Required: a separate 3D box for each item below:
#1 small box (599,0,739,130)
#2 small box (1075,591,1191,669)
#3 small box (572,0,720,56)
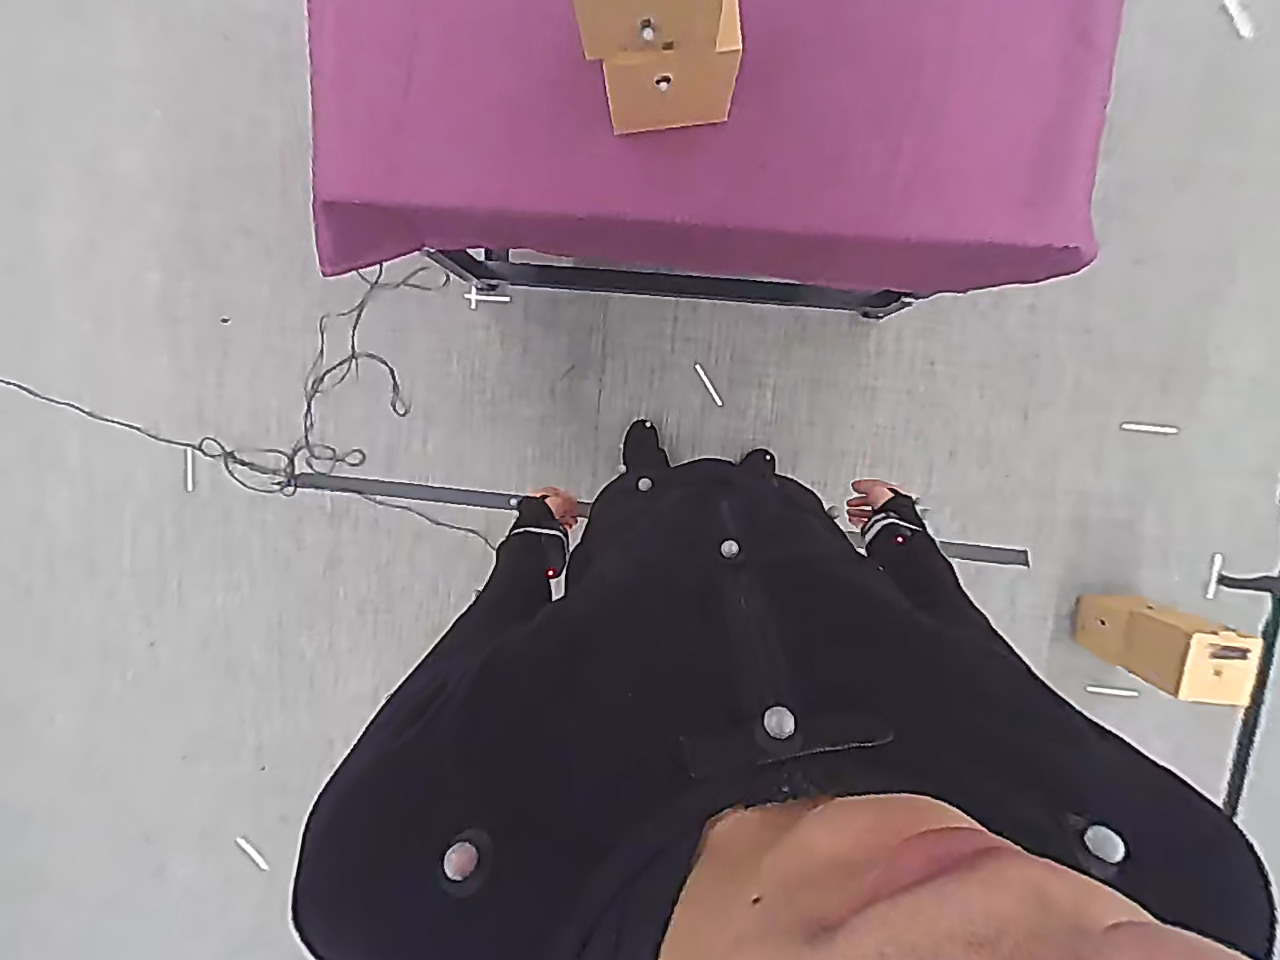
[{"bbox_3d":[0.032,-0.611,0.739,0.179,0.176,0.168,-6,97,2],"label":"small box"},{"bbox_3d":[1.394,0.422,1.542,0.179,0.176,0.168,1,97,2],"label":"small box"},{"bbox_3d":[0.004,-0.600,0.575,0.168,0.176,0.179,-1,97,3],"label":"small box"}]
